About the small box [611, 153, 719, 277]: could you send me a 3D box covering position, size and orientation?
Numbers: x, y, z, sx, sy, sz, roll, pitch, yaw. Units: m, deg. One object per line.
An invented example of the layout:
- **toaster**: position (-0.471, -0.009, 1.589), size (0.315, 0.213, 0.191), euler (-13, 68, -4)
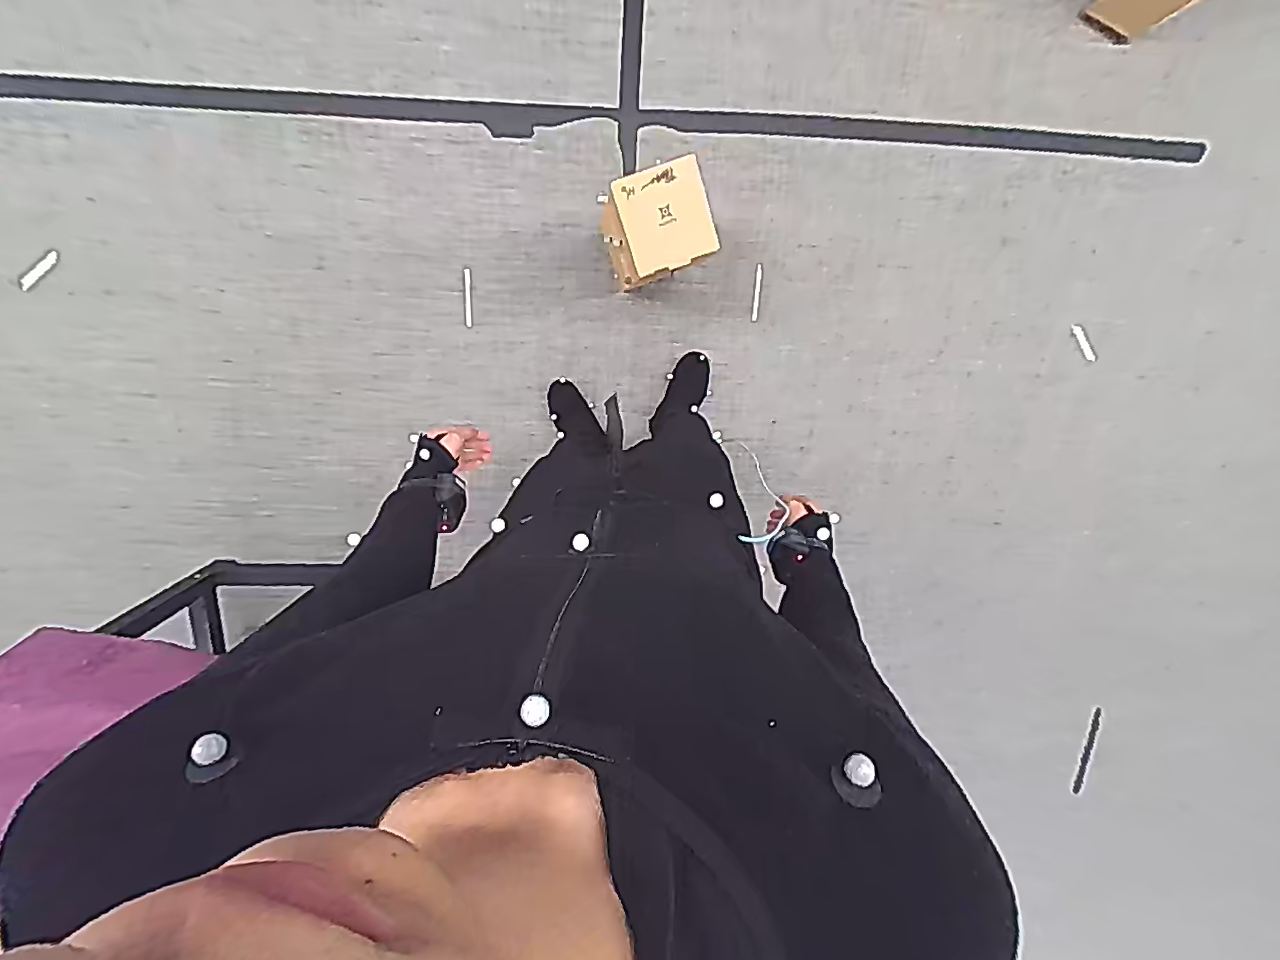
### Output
- **small box**: position (0.045, -0.517, 1.084), size (0.168, 0.176, 0.179), euler (-19, 107, 1)
